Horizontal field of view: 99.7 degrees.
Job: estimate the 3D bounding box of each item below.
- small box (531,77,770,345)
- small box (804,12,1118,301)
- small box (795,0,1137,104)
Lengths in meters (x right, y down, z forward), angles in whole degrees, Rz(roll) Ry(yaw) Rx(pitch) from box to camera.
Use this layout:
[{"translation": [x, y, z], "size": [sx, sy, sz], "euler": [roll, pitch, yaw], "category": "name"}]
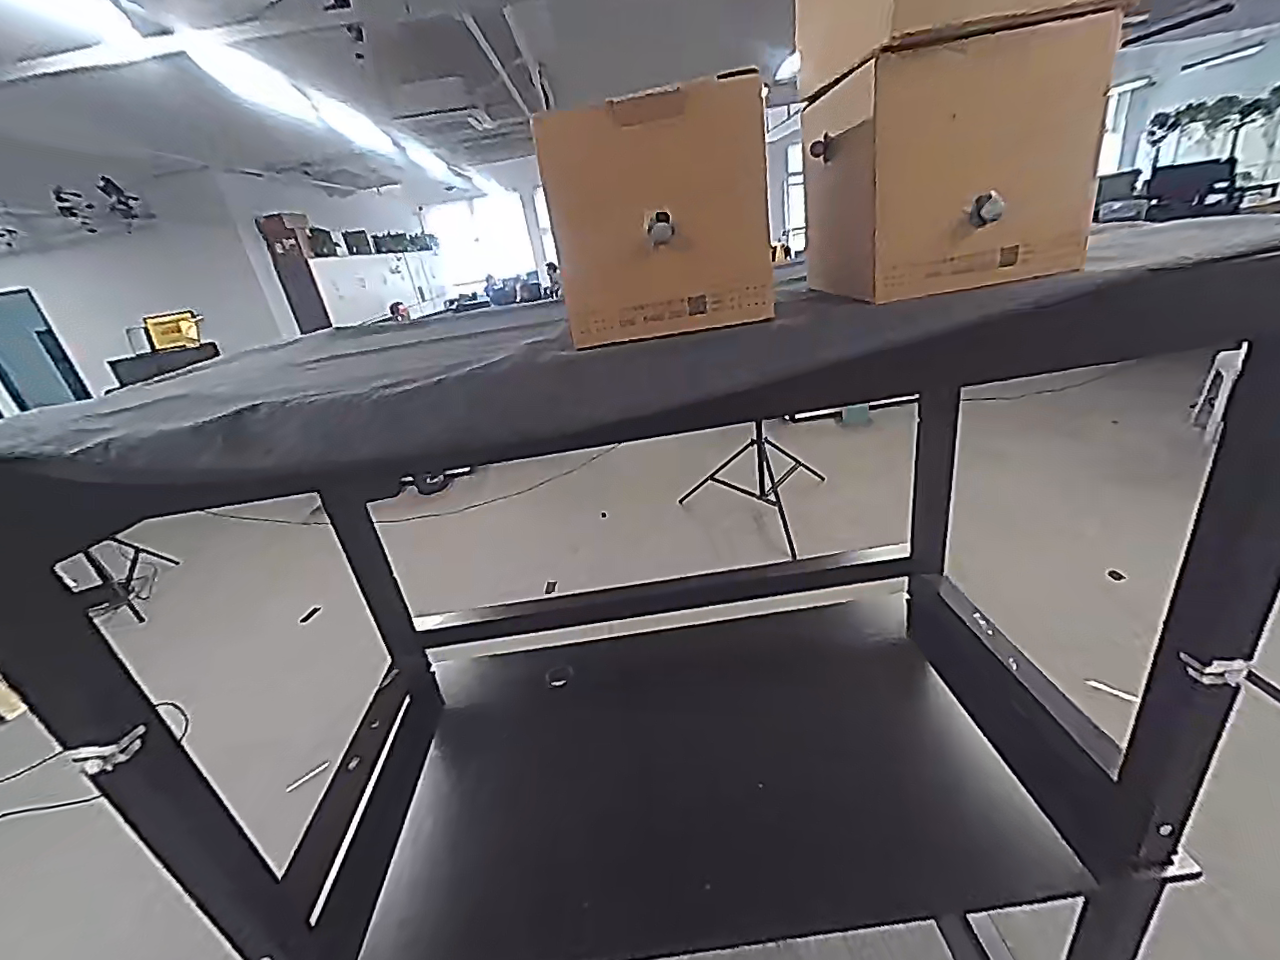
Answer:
[{"translation": [0.016, -0.222, 0.482], "size": [0.168, 0.176, 0.179], "euler": [-7, 23, 3], "category": "small box"}, {"translation": [0.250, -0.257, 0.472], "size": [0.168, 0.176, 0.179], "euler": [-10, 23, 2], "category": "small box"}, {"translation": [0.226, -0.404, 0.394], "size": [0.179, 0.176, 0.168], "euler": [-10, 23, -2], "category": "small box"}]
